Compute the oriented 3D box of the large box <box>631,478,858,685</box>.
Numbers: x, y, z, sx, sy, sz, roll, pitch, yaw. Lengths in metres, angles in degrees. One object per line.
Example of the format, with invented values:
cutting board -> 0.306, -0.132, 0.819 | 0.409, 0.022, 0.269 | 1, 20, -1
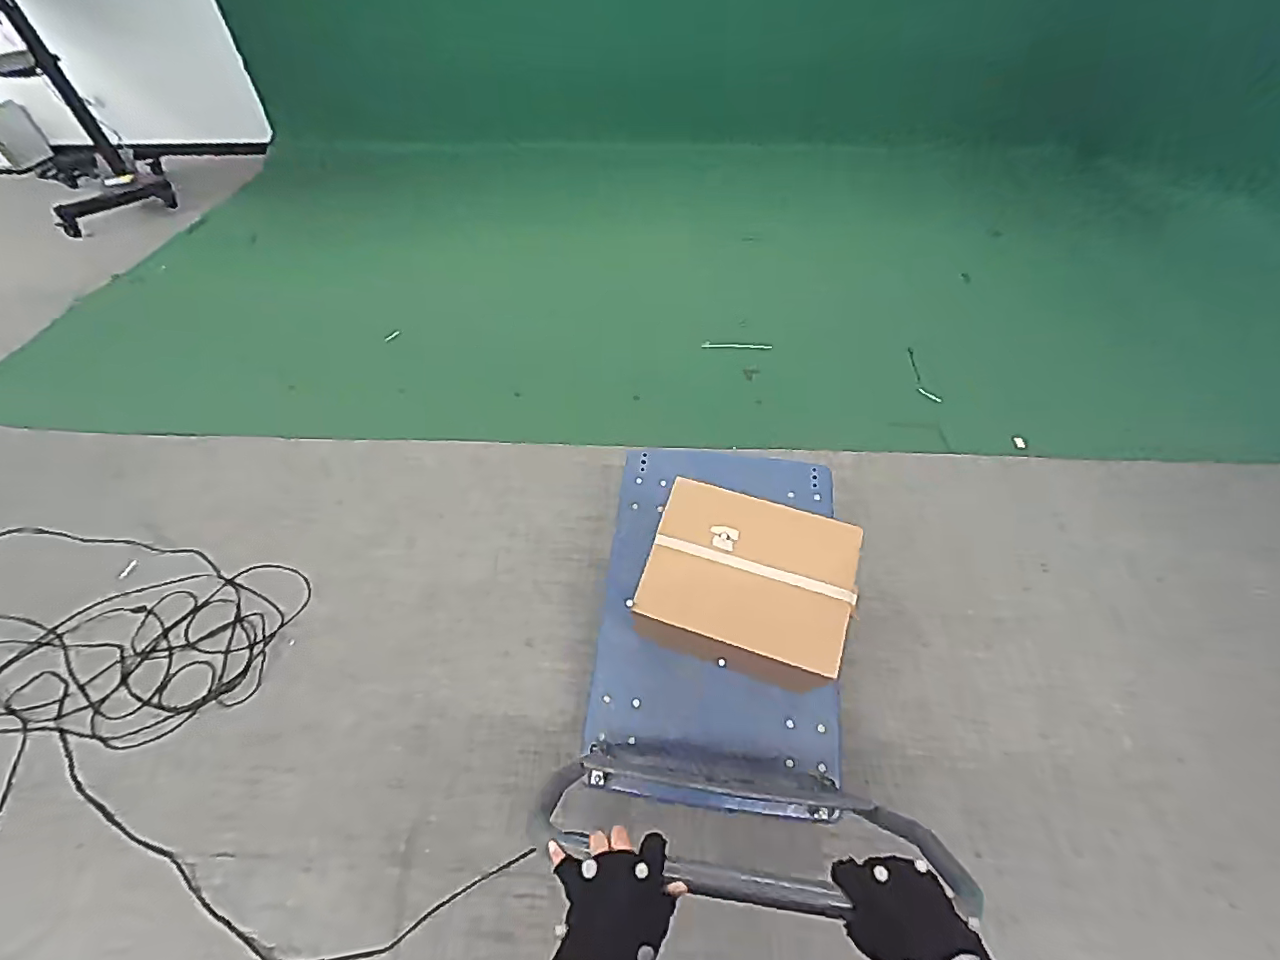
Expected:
large box -> 0.228, 0.239, 1.222 | 0.408, 0.320, 0.320 | 16, 66, 12
